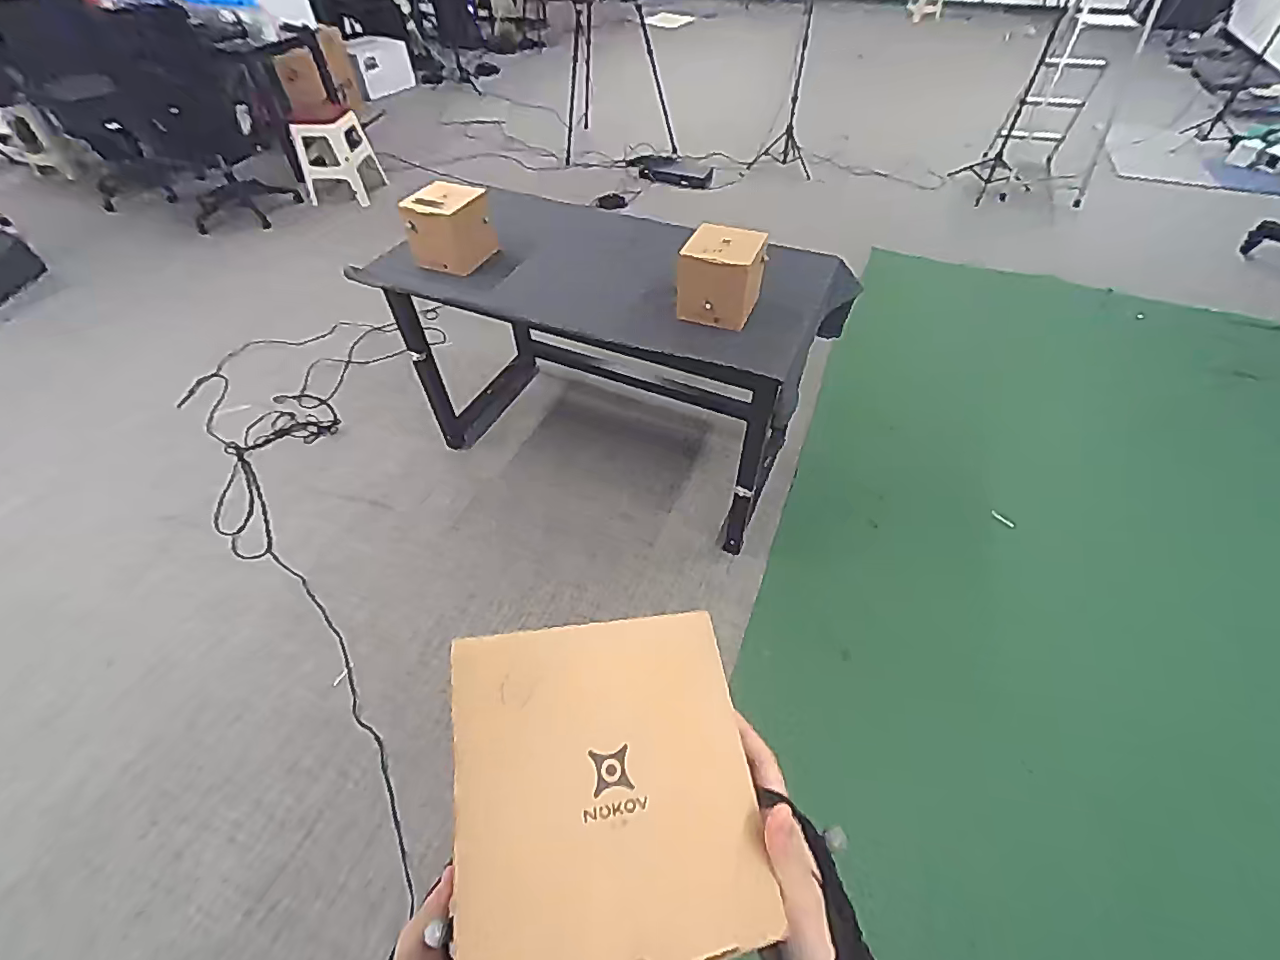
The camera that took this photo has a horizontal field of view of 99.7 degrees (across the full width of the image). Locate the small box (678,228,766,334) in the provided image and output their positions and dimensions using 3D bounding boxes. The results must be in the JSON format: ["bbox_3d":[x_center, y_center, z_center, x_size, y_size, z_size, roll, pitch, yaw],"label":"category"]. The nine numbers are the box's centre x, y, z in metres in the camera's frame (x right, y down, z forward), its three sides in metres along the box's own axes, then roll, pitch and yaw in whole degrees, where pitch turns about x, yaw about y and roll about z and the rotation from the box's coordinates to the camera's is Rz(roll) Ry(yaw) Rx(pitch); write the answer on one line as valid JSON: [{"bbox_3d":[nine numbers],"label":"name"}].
[{"bbox_3d":[0.193,-0.483,1.310,0.168,0.176,0.179,16,51,16],"label":"small box"}]

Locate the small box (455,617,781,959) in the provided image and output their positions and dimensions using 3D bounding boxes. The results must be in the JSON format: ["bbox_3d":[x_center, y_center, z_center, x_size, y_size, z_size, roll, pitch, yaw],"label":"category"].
[{"bbox_3d":[-0.038,0.211,0.368,0.168,0.176,0.179,-3,60,-18],"label":"small box"}]
